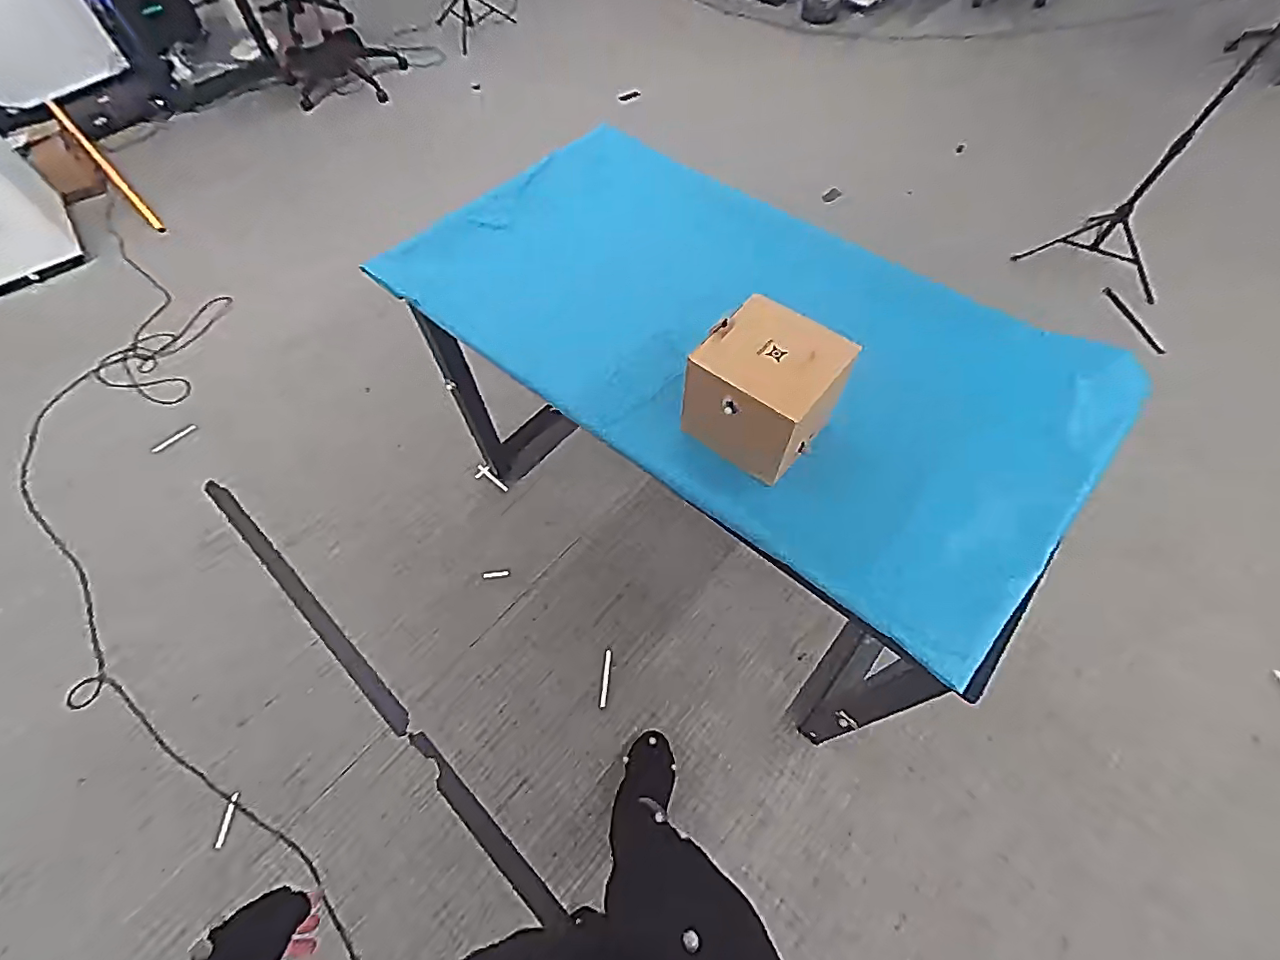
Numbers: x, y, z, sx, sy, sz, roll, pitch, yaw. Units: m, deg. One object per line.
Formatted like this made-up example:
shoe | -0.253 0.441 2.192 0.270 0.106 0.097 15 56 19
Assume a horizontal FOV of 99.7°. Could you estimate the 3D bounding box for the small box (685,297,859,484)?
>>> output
small box | 0.178 -0.125 0.789 0.179 0.176 0.168 36 67 21
